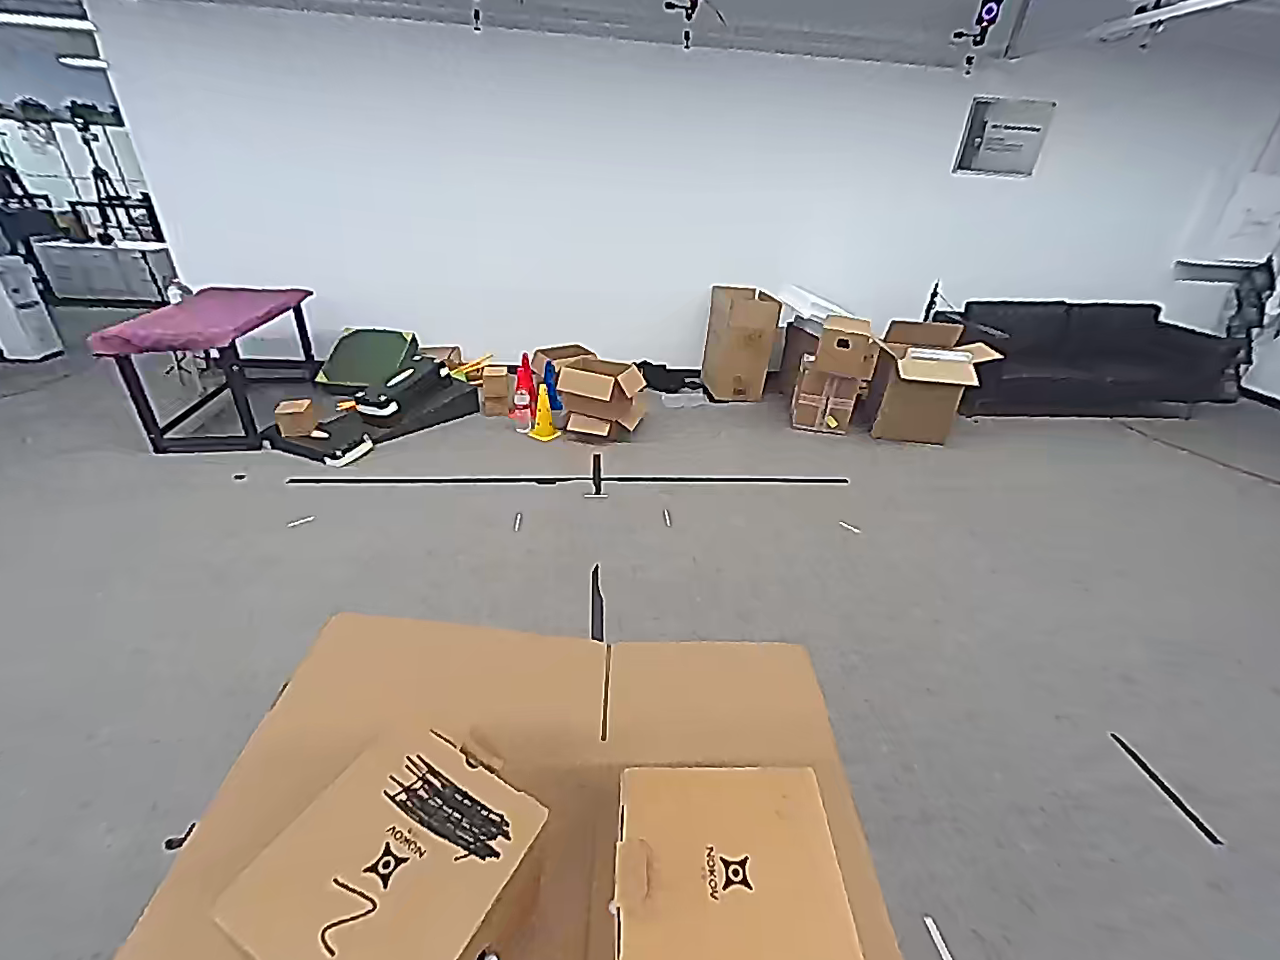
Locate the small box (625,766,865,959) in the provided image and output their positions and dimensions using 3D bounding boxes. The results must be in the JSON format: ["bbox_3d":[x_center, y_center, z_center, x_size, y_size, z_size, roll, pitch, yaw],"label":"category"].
[{"bbox_3d":[0.076,0.380,0.481,0.179,0.176,0.168,-1,34,0],"label":"small box"}]
